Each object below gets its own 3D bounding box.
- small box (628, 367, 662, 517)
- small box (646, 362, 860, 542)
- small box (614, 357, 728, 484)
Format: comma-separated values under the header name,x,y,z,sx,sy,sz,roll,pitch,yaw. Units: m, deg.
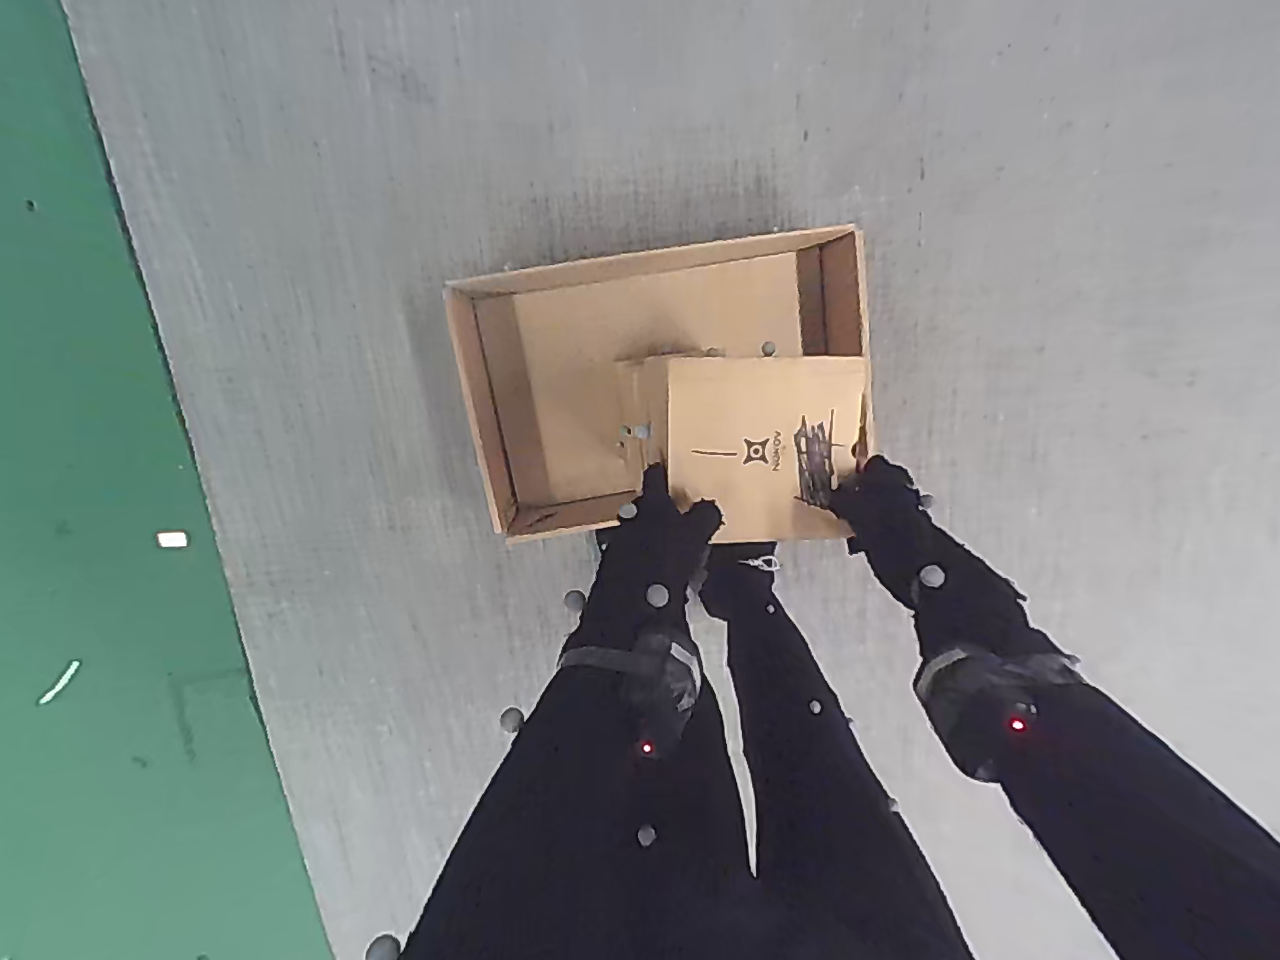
name,x,y,z,sx,sy,sz,roll,pitch,yaw
small box,0.074,-0.063,0.730,0.168,0.176,0.179,-5,103,-5
small box,0.103,-0.039,0.572,0.179,0.176,0.168,-1,101,-5
small box,0.051,-0.104,0.886,0.168,0.176,0.179,-8,102,-4
